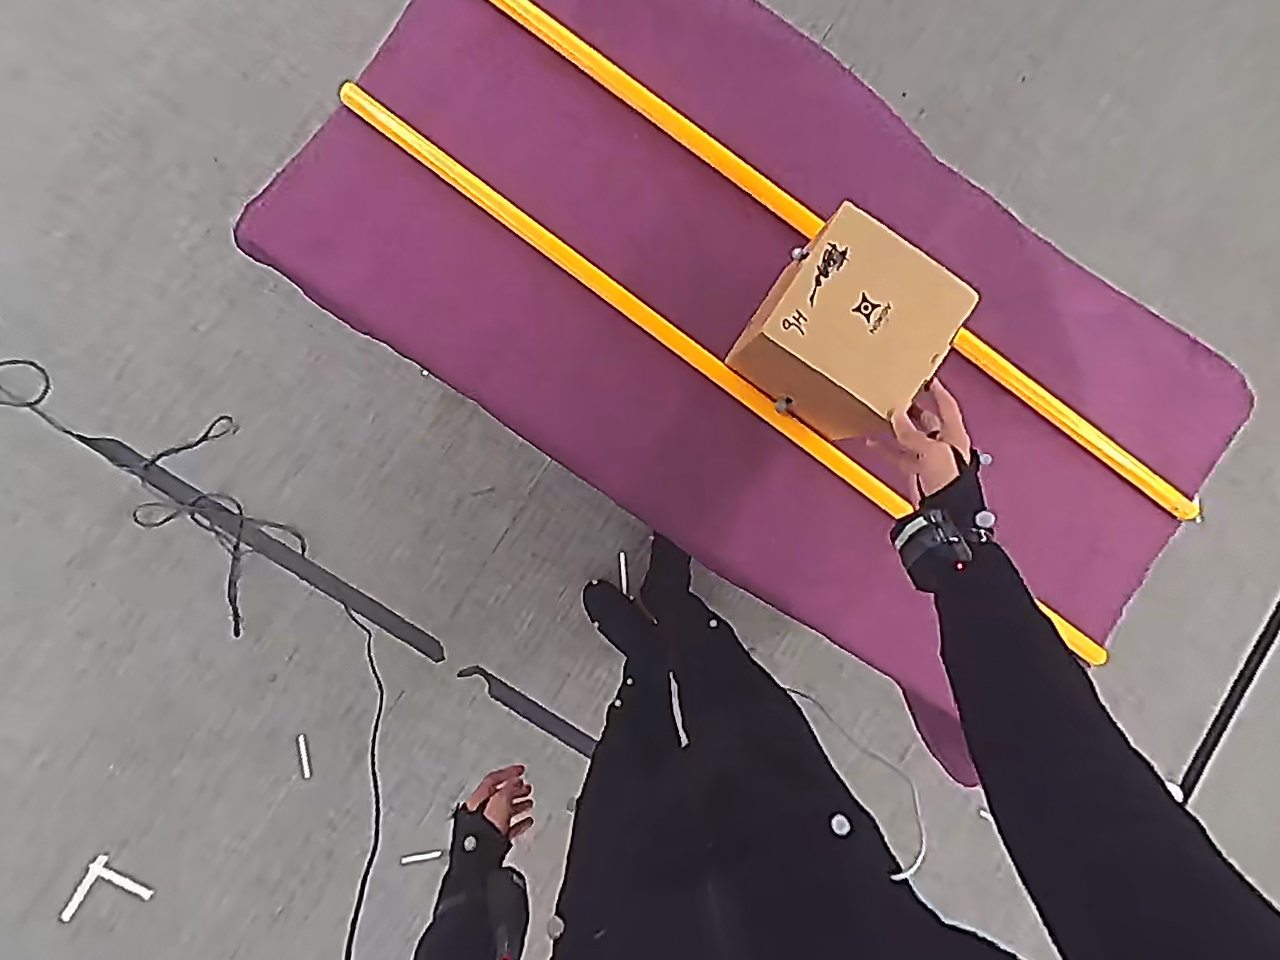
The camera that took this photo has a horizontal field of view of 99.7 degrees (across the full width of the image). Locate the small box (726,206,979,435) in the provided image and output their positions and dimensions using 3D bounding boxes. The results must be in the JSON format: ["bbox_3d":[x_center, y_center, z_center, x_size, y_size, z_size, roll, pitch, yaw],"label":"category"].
[{"bbox_3d":[0.227,-0.163,0.624,0.179,0.176,0.168,34,87,-4],"label":"small box"}]
